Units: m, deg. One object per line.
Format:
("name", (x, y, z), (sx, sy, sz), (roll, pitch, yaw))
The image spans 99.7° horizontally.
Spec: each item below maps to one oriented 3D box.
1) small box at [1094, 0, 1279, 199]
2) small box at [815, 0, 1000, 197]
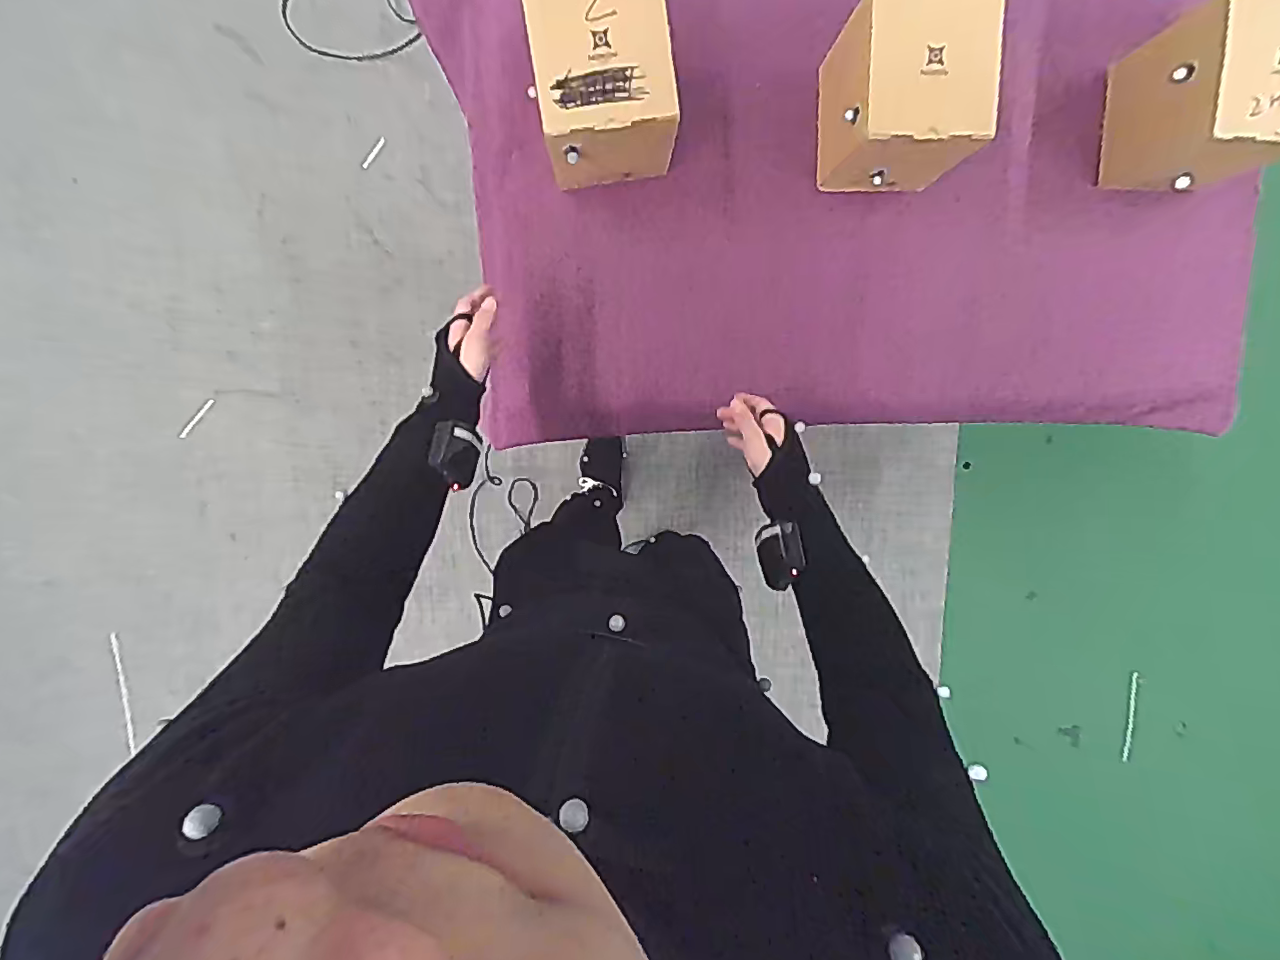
("small box", (0.791, -0.521, 0.760), (0.168, 0.176, 0.179), (0, 98, -2))
("small box", (0.350, -0.512, 0.739), (0.168, 0.176, 0.179), (-2, 99, -4))
